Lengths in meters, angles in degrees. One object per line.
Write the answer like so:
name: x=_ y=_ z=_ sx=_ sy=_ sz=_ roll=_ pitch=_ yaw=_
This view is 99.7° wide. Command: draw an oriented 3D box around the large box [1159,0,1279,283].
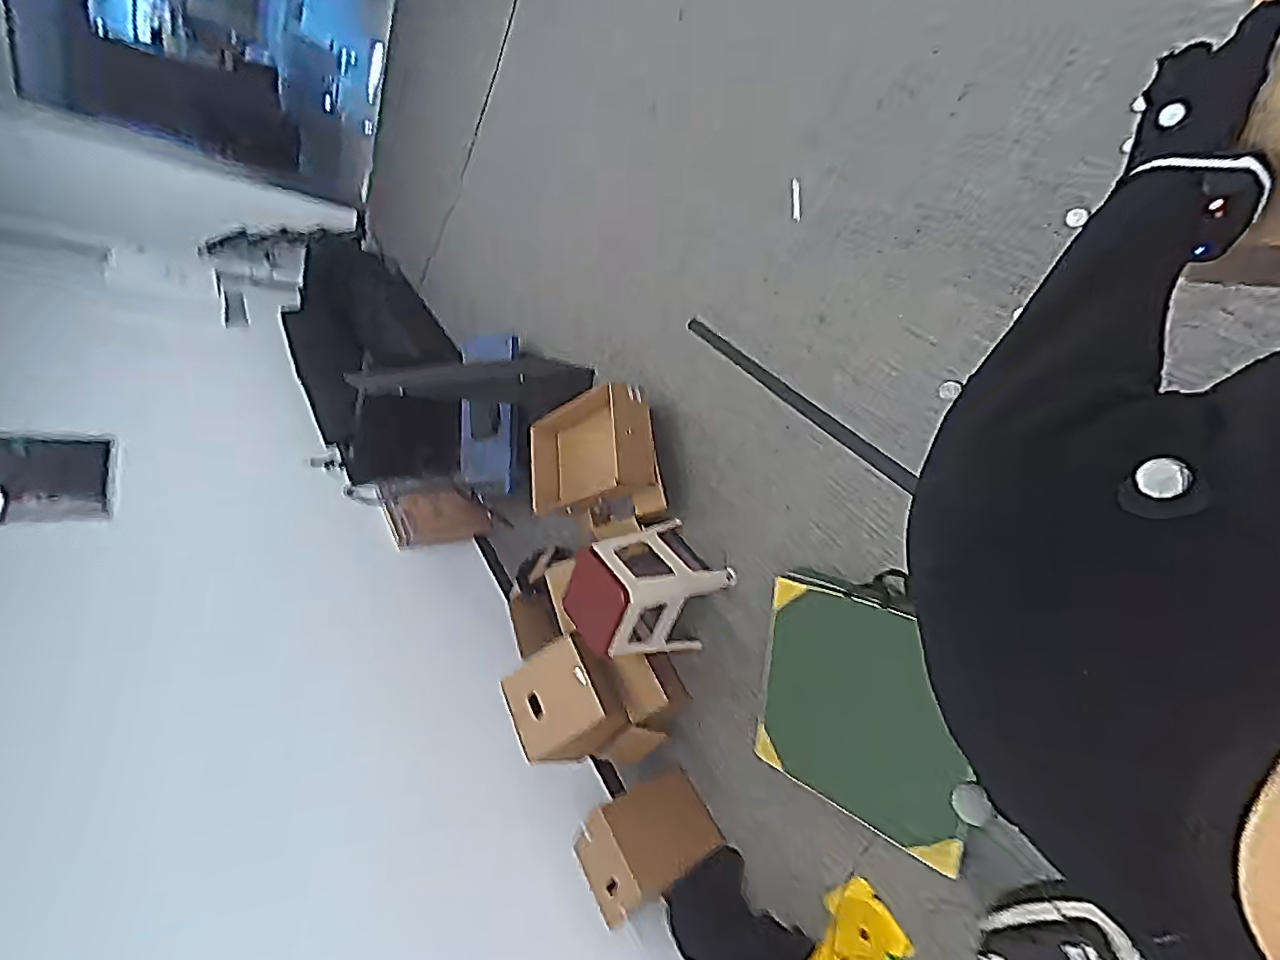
large box: x=0.744 y=-0.319 z=0.416 sx=0.408 sy=0.320 sz=0.320 roll=28 pitch=116 yaw=43
